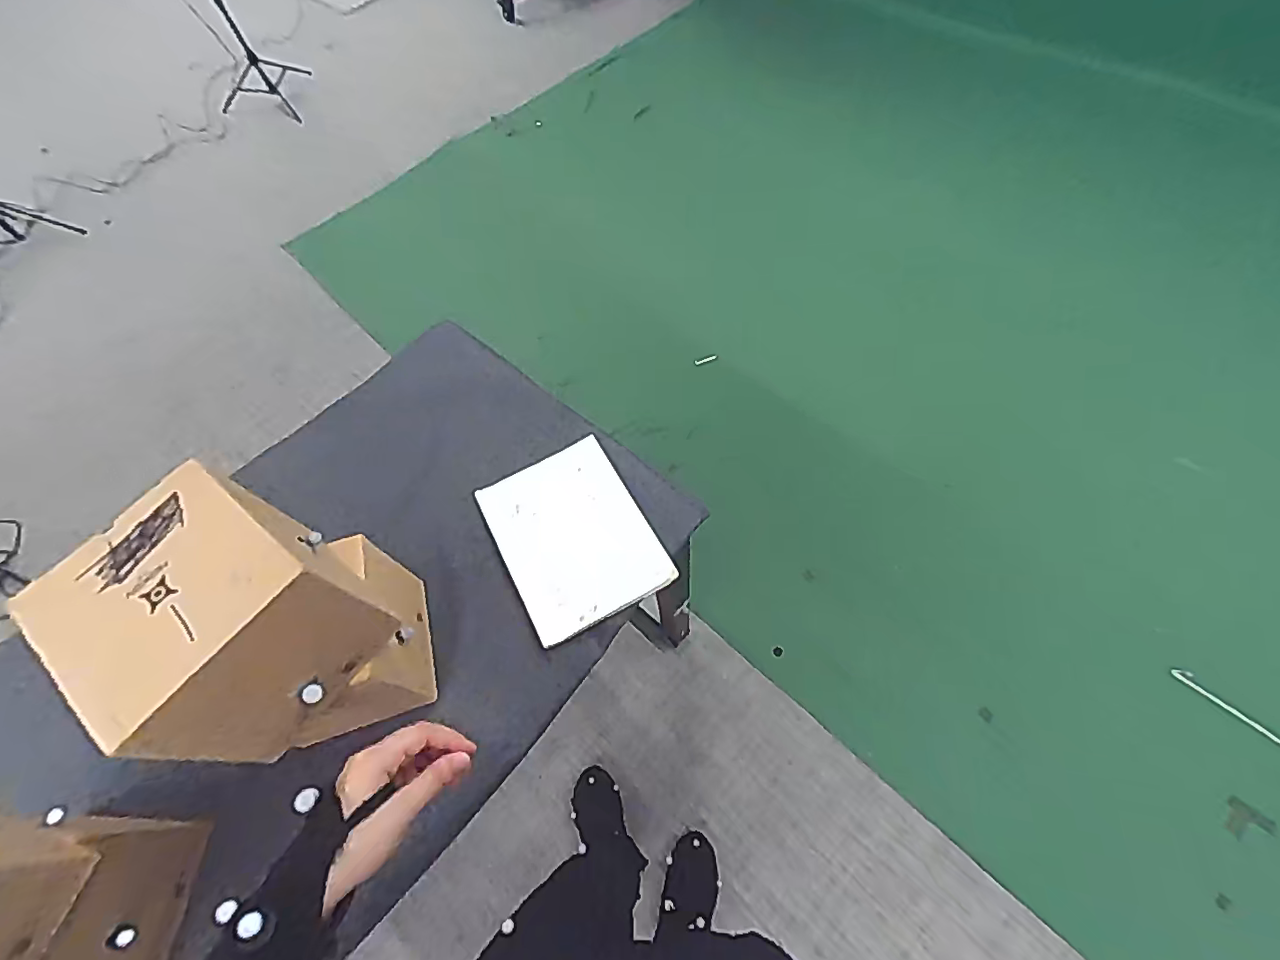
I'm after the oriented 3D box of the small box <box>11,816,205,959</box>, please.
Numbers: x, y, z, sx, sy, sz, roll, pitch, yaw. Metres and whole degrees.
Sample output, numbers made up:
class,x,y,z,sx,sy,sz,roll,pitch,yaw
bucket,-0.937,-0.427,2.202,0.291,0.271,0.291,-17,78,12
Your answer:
class,x,y,z,sx,sy,sz,roll,pitch,yaw
small box,-0.584,0.428,0.521,0.179,0.176,0.168,0,61,5

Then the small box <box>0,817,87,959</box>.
class,x,y,z,sx,sy,sz,roll,pitch,yaw
small box,-0.579,0.343,0.381,0.179,0.176,0.168,11,62,11

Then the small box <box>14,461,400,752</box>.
class,x,y,z,sx,sy,sz,roll,pitch,yaw
small box,-0.360,0.121,0.483,0.179,0.176,0.168,33,70,20

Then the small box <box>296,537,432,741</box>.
class,x,y,z,sx,sy,sz,roll,pitch,yaw
small box,-0.360,0.192,0.633,0.179,0.176,0.168,-18,61,-4
